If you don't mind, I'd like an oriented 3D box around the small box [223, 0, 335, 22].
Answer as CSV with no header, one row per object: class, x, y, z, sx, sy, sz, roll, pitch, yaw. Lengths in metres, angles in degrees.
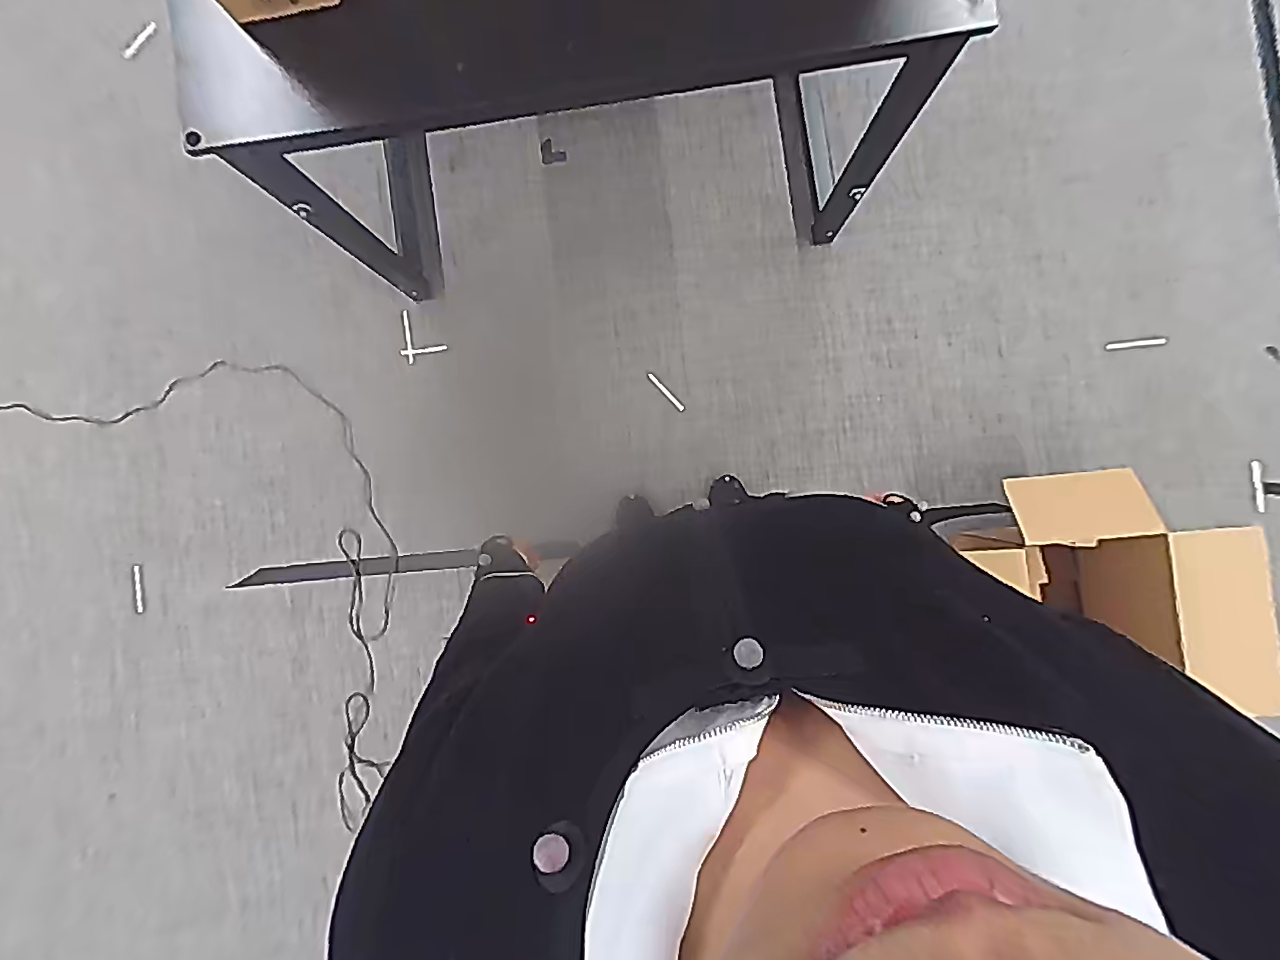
small box,-0.548,-0.787,0.736,0.168,0.176,0.179,-9,90,2
